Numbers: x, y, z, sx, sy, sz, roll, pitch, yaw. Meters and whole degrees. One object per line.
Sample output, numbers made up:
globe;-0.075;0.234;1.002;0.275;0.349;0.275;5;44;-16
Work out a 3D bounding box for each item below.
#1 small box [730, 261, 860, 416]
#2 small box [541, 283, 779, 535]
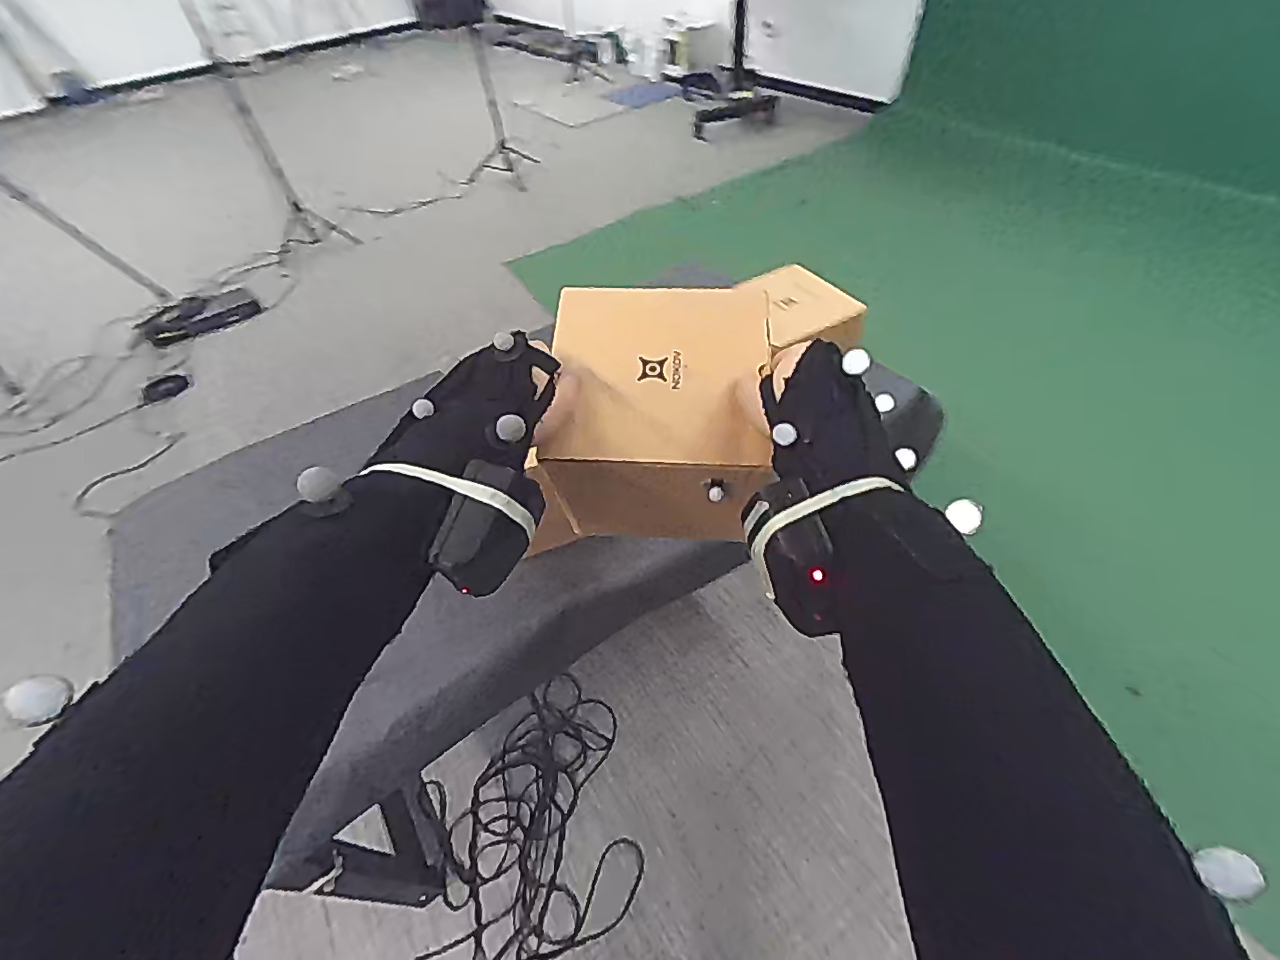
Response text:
small box;0.226;-0.226;0.893;0.179;0.176;0.168;-26;53;-16
small box;0.024;-0.055;0.492;0.179;0.176;0.168;3;65;5
